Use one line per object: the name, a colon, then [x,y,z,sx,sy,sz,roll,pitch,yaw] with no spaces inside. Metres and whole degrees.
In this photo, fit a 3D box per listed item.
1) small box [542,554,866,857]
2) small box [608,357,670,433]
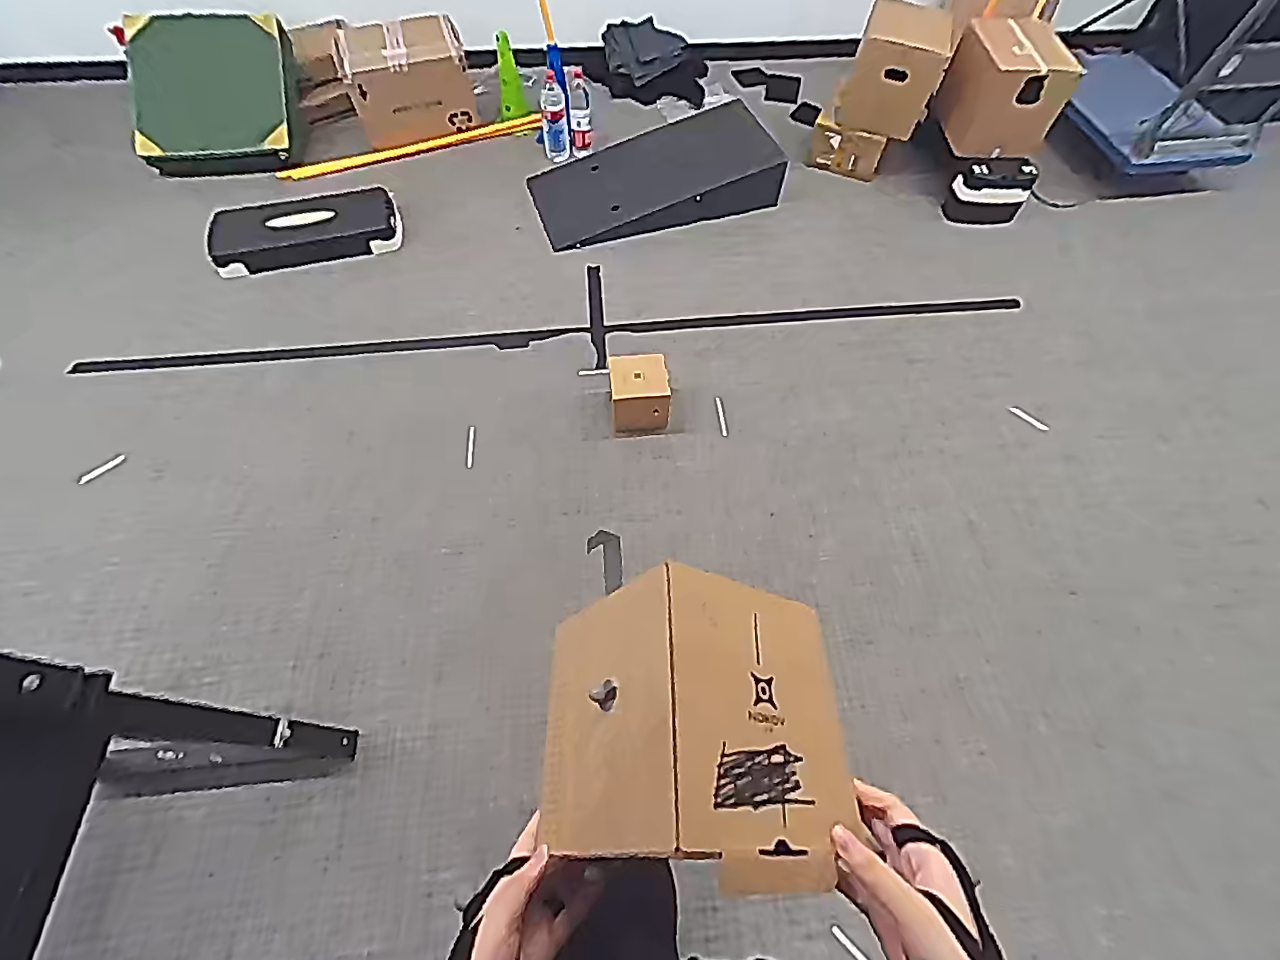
small box: [0.037,0.187,0.422,0.168,0.176,0.179,23,47,-29]
small box: [-0.008,-0.261,1.688,0.179,0.176,0.168,-5,60,-4]
